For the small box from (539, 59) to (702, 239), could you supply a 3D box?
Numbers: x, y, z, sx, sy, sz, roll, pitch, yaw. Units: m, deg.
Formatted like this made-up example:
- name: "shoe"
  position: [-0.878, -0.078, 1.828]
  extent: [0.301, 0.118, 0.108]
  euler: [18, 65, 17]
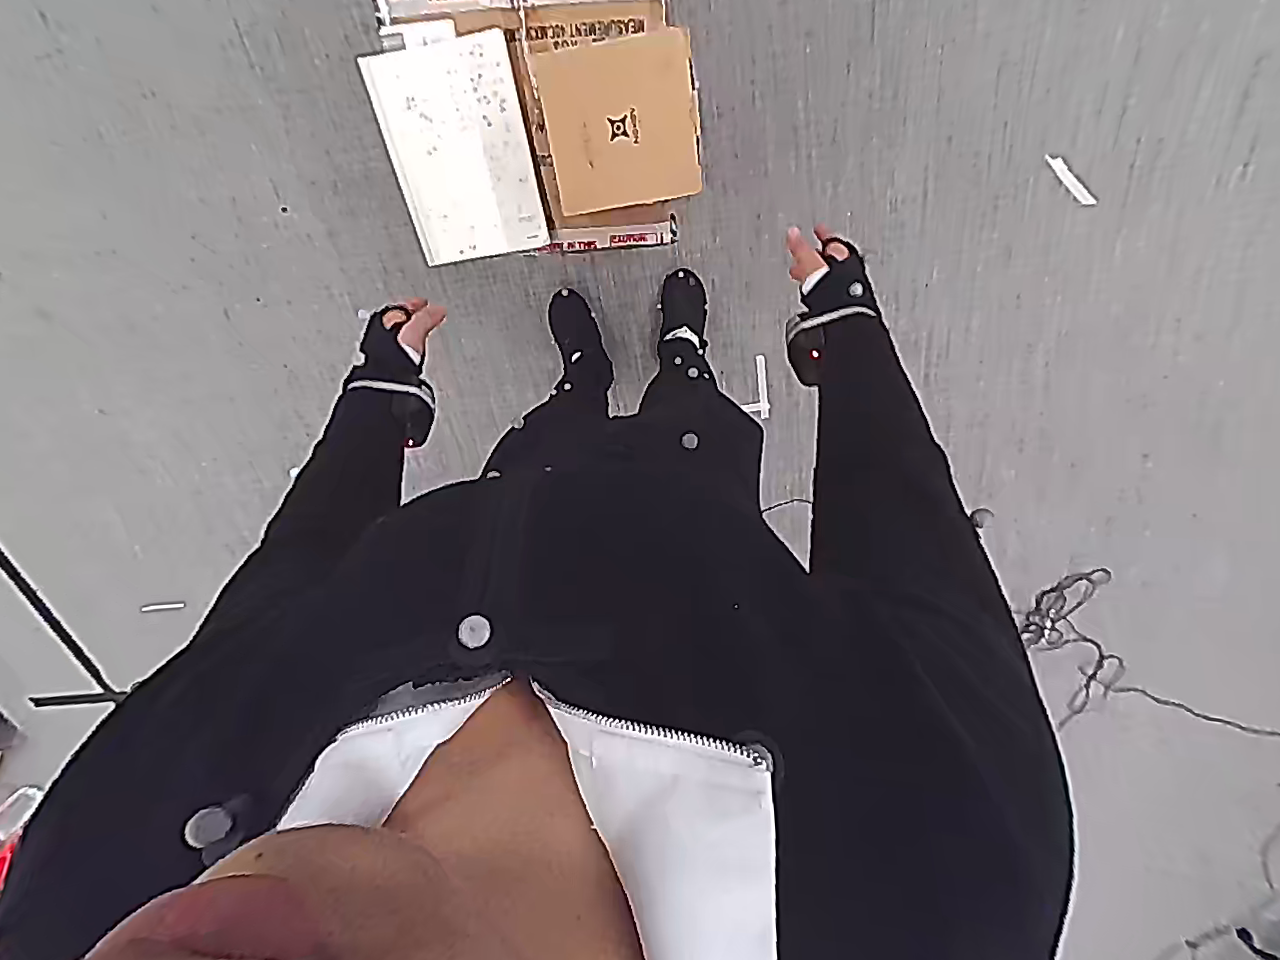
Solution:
- name: "small box"
  position: [-0.020, -0.427, 0.715]
  extent: [0.179, 0.176, 0.168]
  euler: [-8, 118, 4]
